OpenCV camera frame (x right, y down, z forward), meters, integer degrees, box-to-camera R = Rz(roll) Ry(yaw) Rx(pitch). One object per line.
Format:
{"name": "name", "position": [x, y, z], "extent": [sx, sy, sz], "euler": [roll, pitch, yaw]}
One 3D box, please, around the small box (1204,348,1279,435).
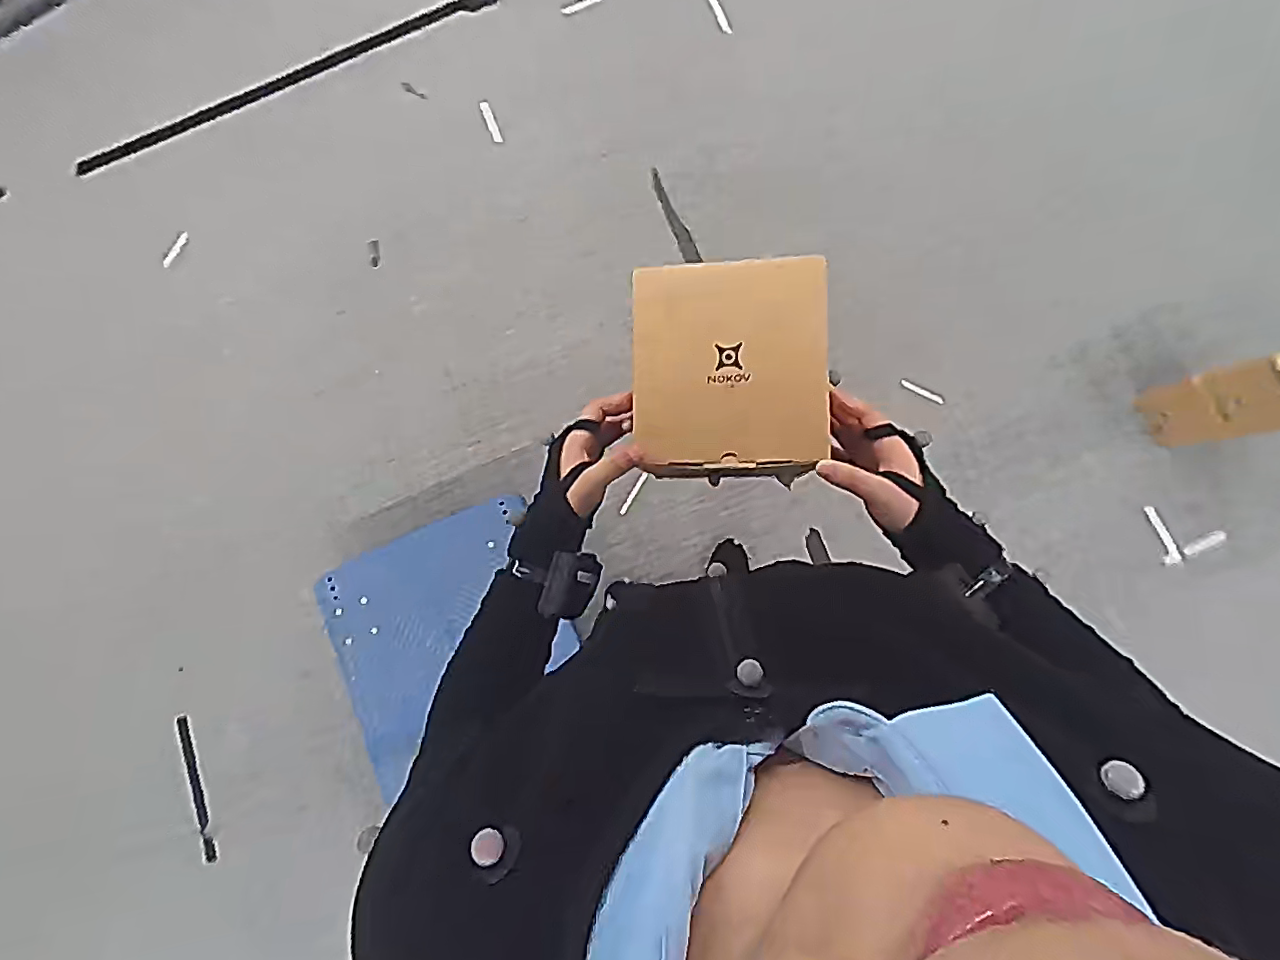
{"name": "small box", "position": [1.462, -0.215, 1.219], "extent": [0.179, 0.176, 0.168], "euler": [-18, 81, 2]}
